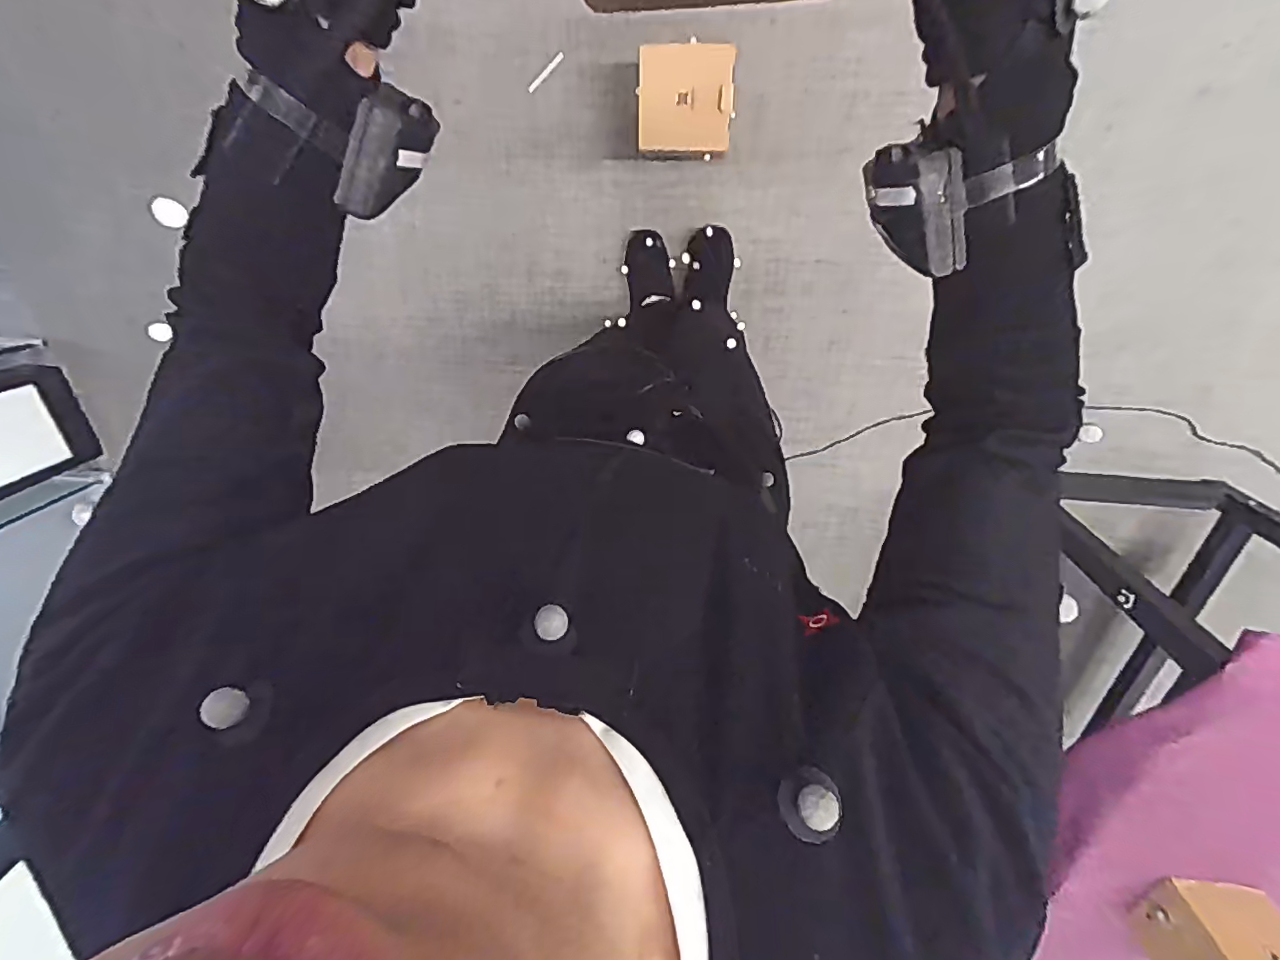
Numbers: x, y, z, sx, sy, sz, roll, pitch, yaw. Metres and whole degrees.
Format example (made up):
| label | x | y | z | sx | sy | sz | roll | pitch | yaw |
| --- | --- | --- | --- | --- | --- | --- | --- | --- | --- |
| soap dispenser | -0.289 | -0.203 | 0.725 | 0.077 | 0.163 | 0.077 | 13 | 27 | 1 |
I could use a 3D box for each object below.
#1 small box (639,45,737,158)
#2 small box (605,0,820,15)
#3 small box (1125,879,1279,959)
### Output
| label | x | y | z | sx | sy | sz | roll | pitch | yaw |
| --- | --- | --- | --- | --- | --- | --- | --- | --- | --- |
| small box | 0.095 | -0.744 | 1.078 | 0.179 | 0.176 | 0.168 | 3 | 117 | 5 |
| small box | 0.037 | -0.368 | 0.261 | 0.168 | 0.176 | 0.179 | 4 | 114 | 8 |
| small box | 1.061 | 0.865 | 0.982 | 0.179 | 0.176 | 0.168 | 8 | 117 | 2 |
